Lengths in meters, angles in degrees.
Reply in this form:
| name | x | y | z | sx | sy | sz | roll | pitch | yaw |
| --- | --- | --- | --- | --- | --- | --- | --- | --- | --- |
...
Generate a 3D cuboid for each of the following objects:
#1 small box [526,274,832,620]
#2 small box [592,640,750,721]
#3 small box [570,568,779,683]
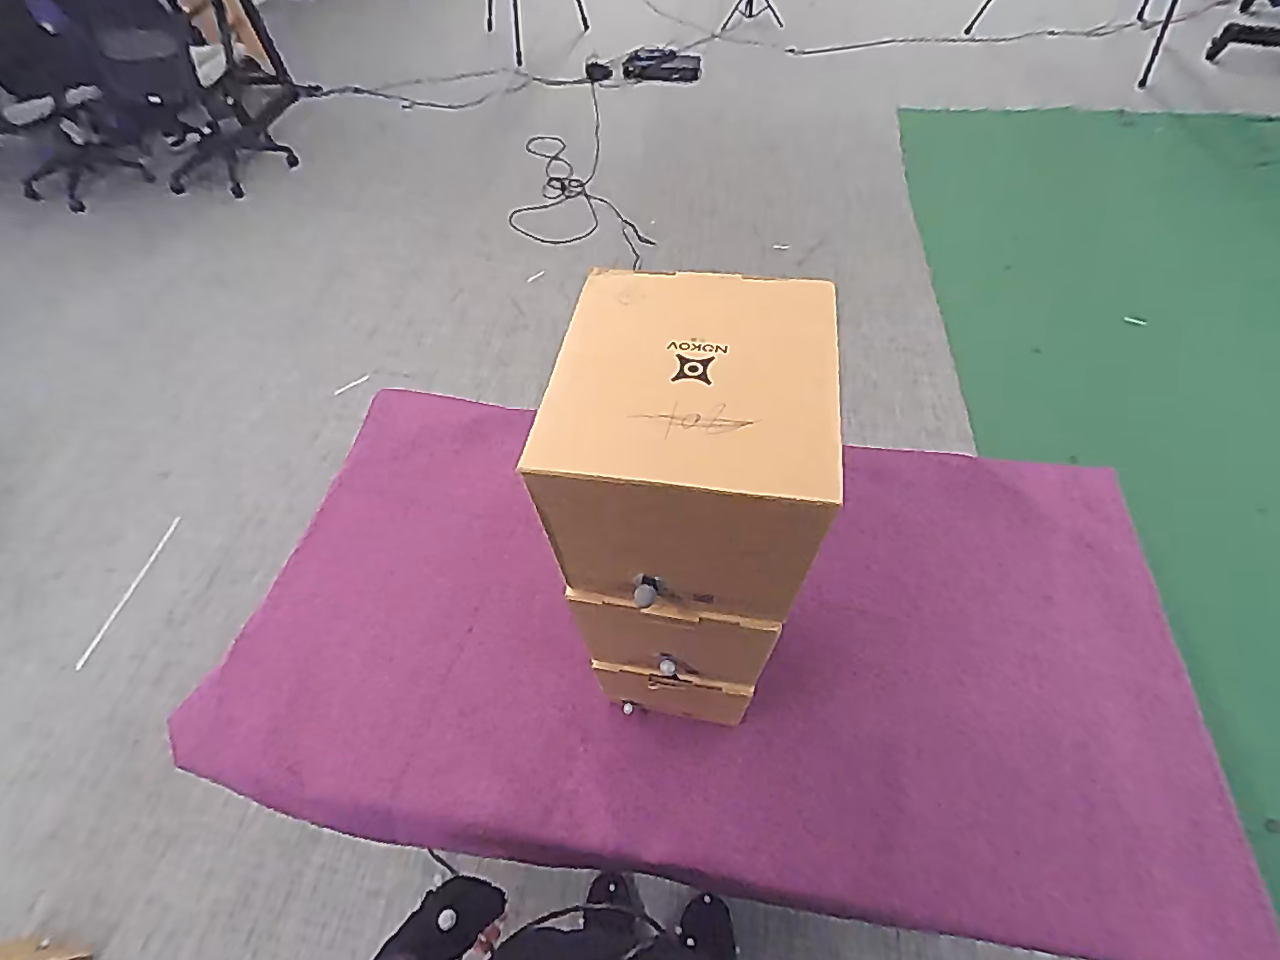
| name | x | y | z | sx | sy | sz | roll | pitch | yaw |
| --- | --- | --- | --- | --- | --- | --- | --- | --- | --- |
| small box | 0.036 | -0.020 | 0.393 | 0.168 | 0.176 | 0.179 | 7 | 56 | 9 |
| small box | 0.051 | 0.175 | 0.655 | 0.168 | 0.176 | 0.179 | 8 | 56 | 9 |
| small box | 0.043 | 0.075 | 0.524 | 0.168 | 0.176 | 0.179 | 7 | 57 | 9 |
